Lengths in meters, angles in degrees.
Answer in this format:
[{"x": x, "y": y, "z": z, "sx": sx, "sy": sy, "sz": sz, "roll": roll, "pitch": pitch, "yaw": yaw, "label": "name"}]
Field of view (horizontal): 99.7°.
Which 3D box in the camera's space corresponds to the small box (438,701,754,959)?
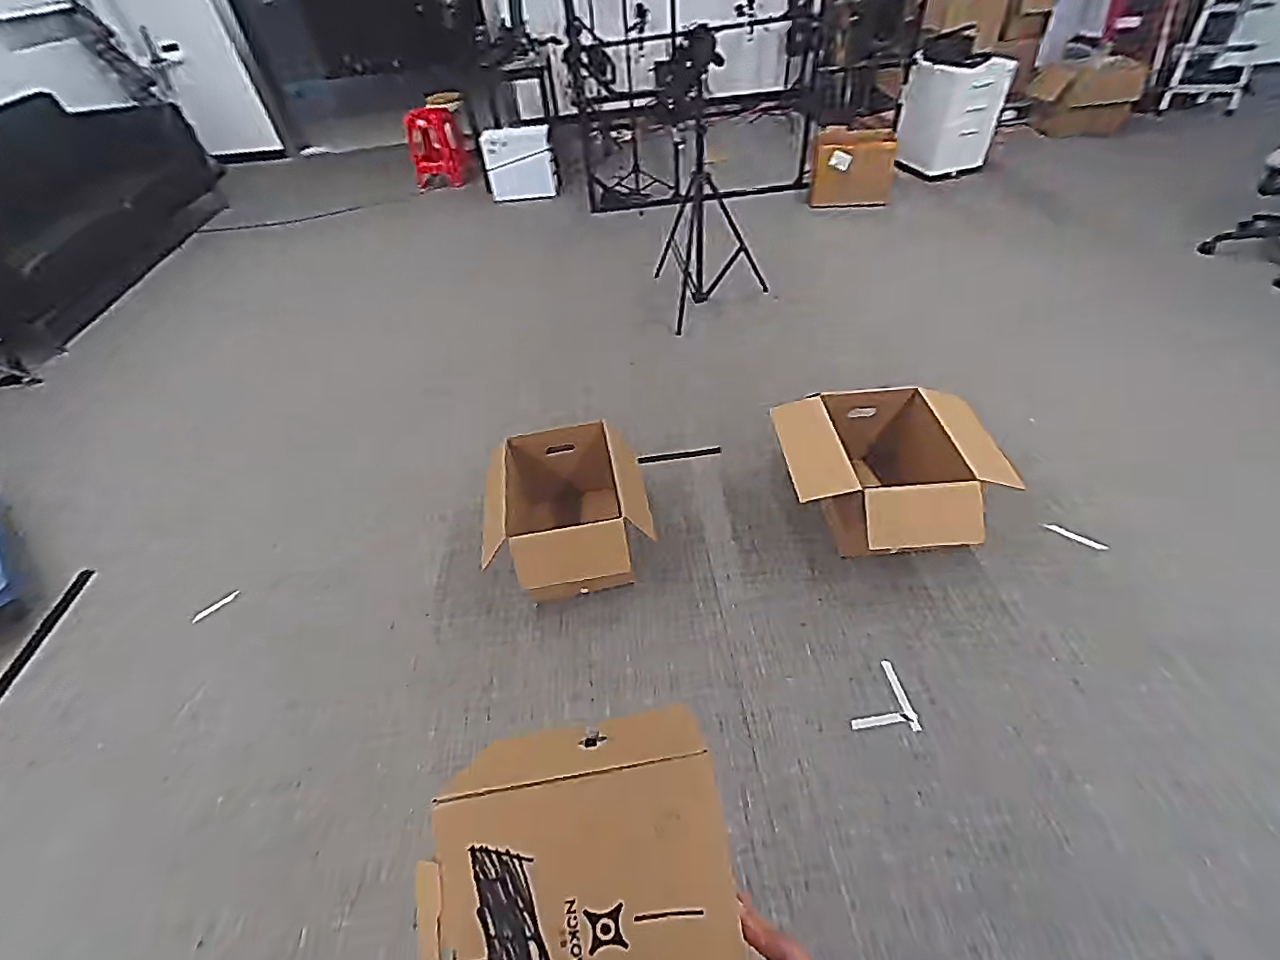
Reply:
[{"x": -0.025, "y": 0.270, "z": 0.391, "sx": 0.179, "sy": 0.176, "sz": 0.168, "roll": -9, "pitch": 78, "yaw": -2, "label": "small box"}]
